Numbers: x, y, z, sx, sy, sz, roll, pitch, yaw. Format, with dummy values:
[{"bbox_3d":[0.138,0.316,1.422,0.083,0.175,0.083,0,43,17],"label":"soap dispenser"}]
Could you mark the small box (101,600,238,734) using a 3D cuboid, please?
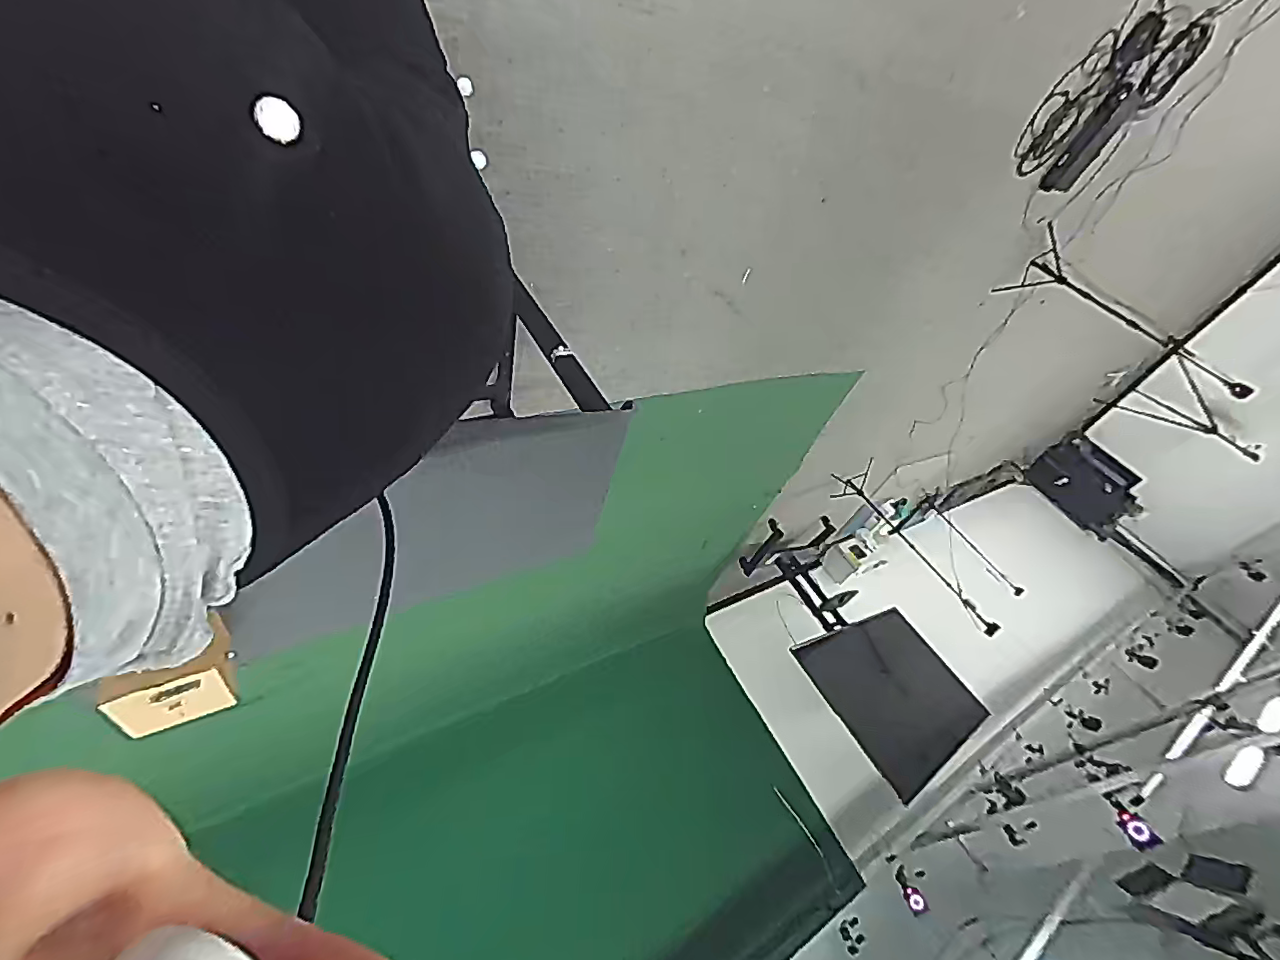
[{"bbox_3d":[-0.915,0.355,1.056,0.168,0.176,0.179,-14,145,-32],"label":"small box"}]
